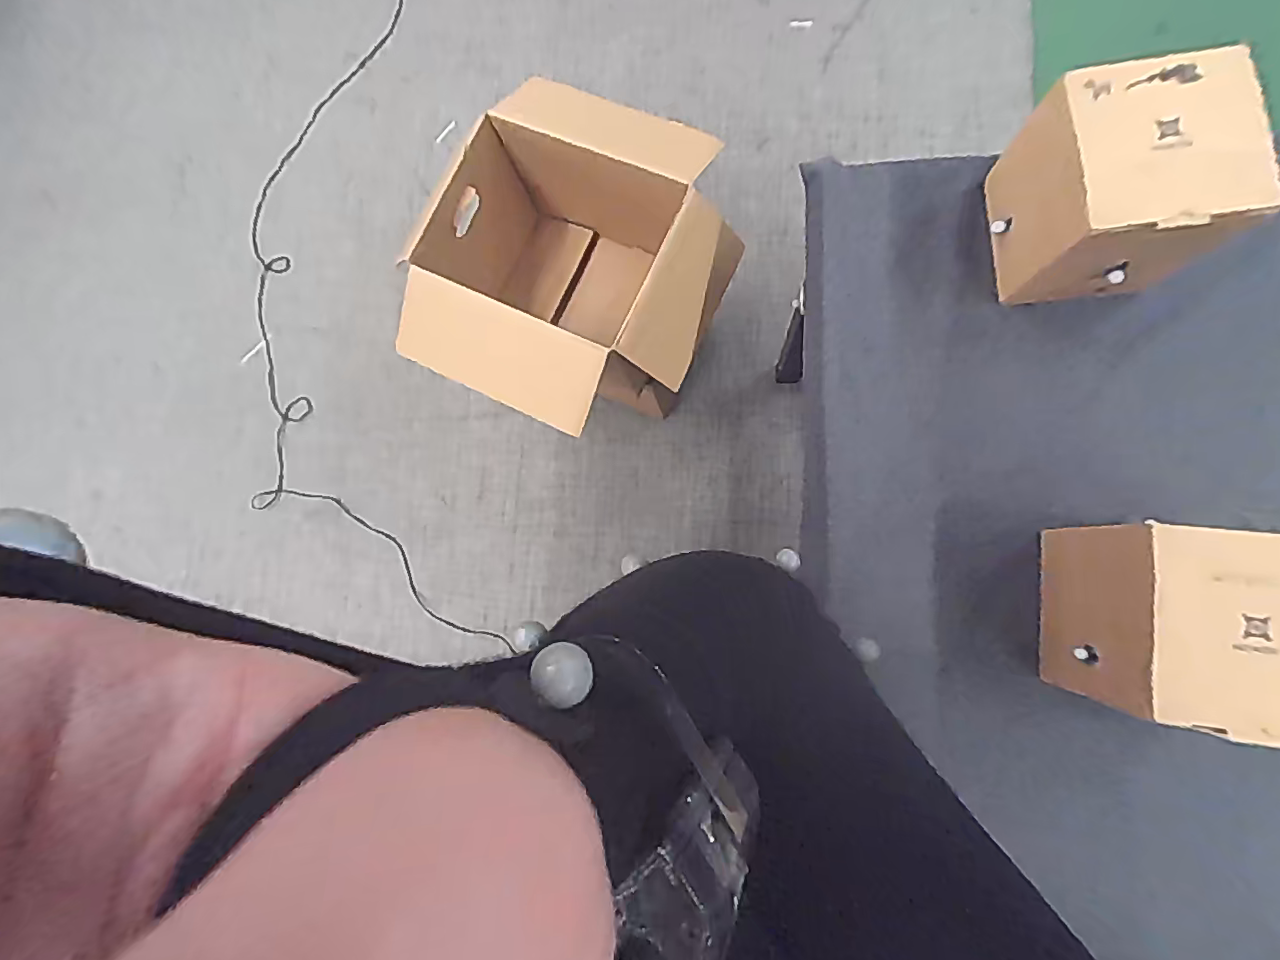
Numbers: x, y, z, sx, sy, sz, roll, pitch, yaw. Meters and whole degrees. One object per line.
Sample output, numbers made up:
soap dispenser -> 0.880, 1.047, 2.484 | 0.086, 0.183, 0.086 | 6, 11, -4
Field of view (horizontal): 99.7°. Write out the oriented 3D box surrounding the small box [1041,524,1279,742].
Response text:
small box -> 0.536, 0.142, 0.537 | 0.168, 0.176, 0.179 | 4, 81, 7

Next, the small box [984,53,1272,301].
small box -> 0.517, -0.315, 0.604 | 0.168, 0.176, 0.179 | -4, 83, 7
